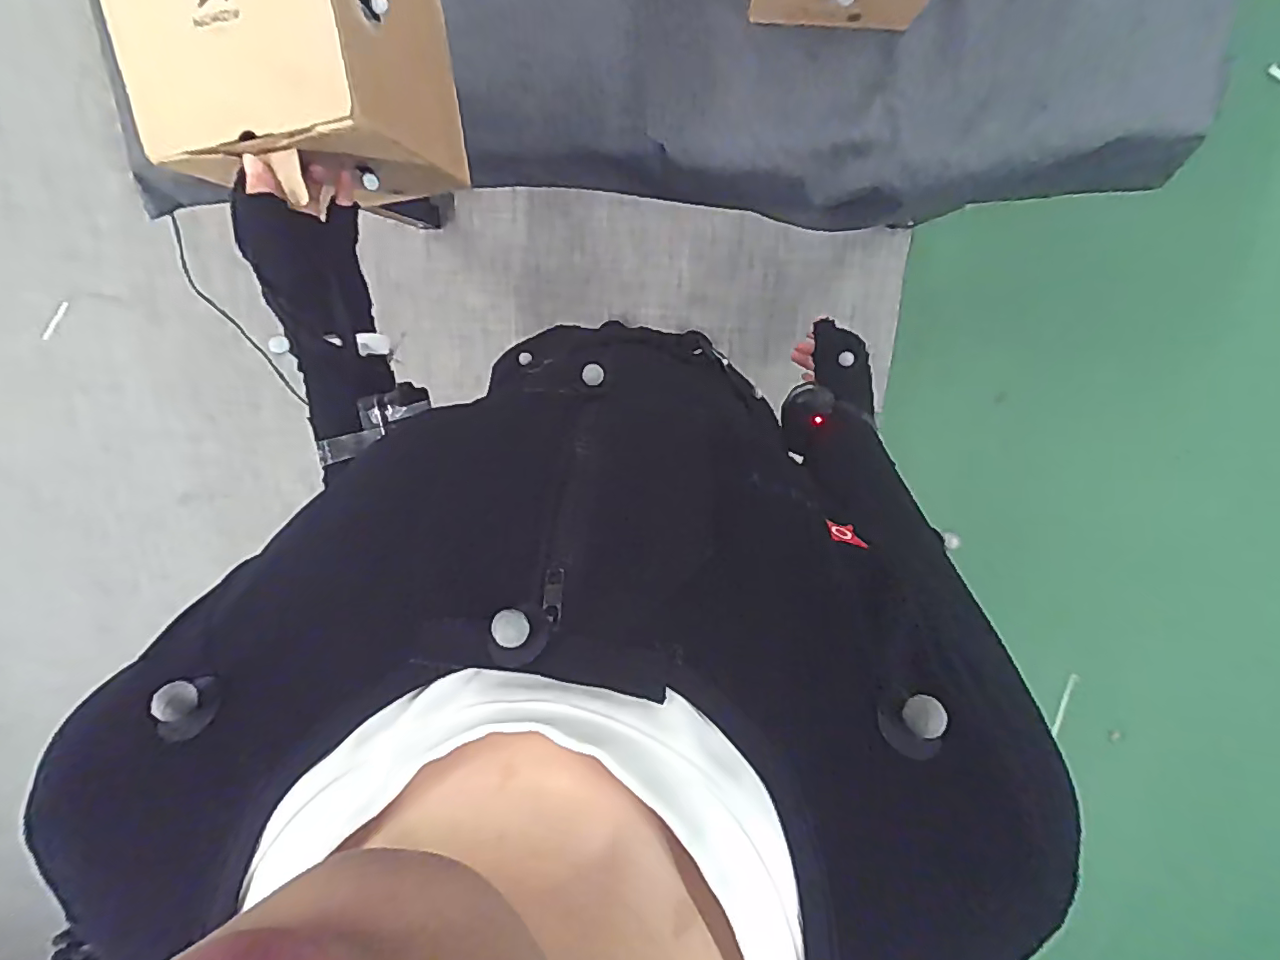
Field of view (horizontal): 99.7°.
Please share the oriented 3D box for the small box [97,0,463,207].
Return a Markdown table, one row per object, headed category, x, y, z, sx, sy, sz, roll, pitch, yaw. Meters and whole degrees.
| category | x | y | z | sx | sy | sz | roll | pitch | yaw |
| --- | --- | --- | --- | --- | --- | --- | --- | --- | --- |
| small box | -0.257 | -0.326 | 0.416 | 0.168 | 0.176 | 0.179 | -4 | 103 | 10 |
